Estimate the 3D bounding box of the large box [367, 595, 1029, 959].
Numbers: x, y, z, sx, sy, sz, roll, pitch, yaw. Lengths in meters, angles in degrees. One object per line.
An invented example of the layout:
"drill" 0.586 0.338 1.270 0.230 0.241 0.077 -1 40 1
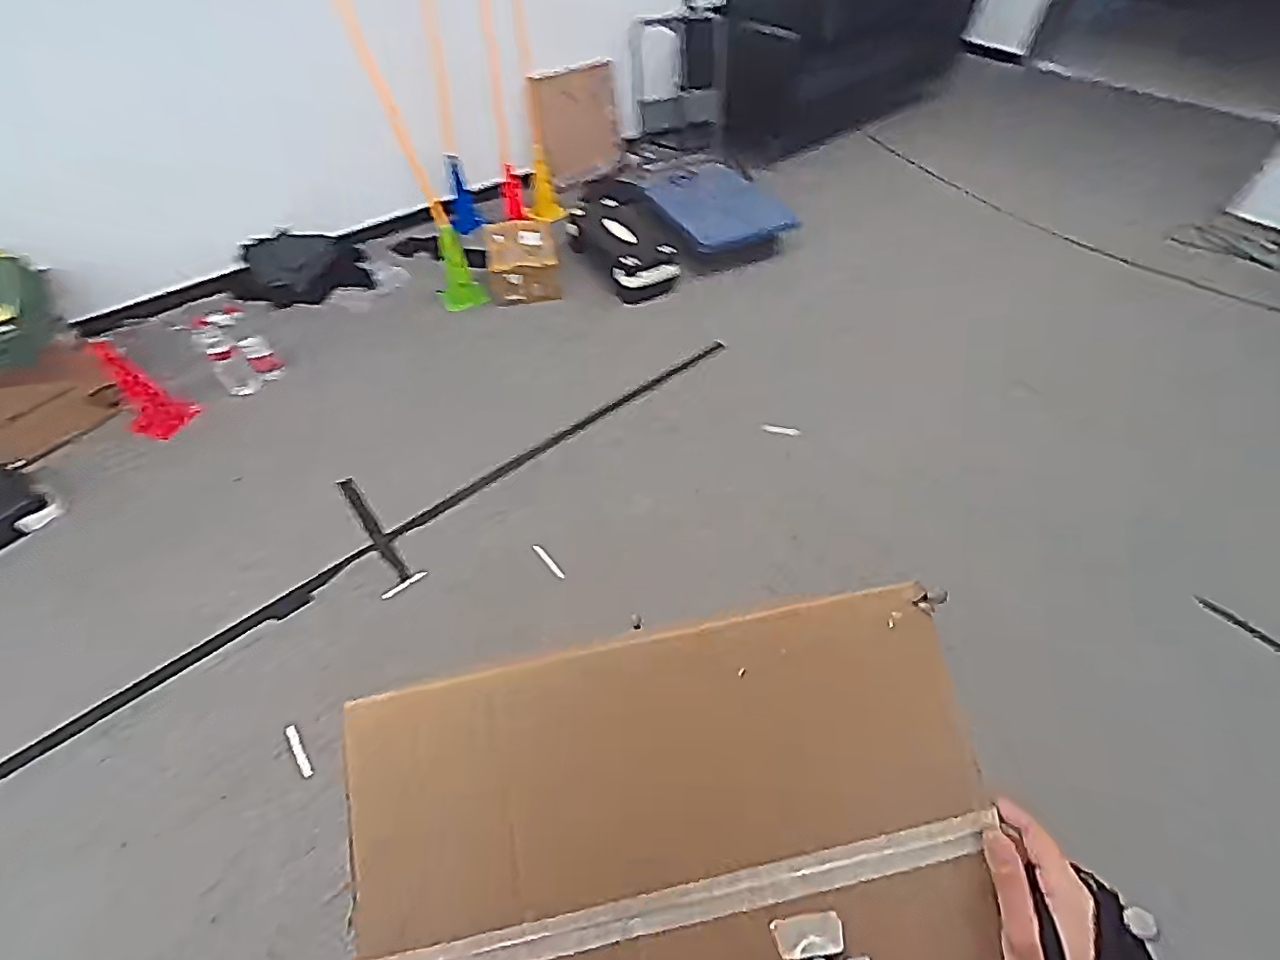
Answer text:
"large box" 0.033 0.304 0.490 0.408 0.320 0.320 -11 77 -4
